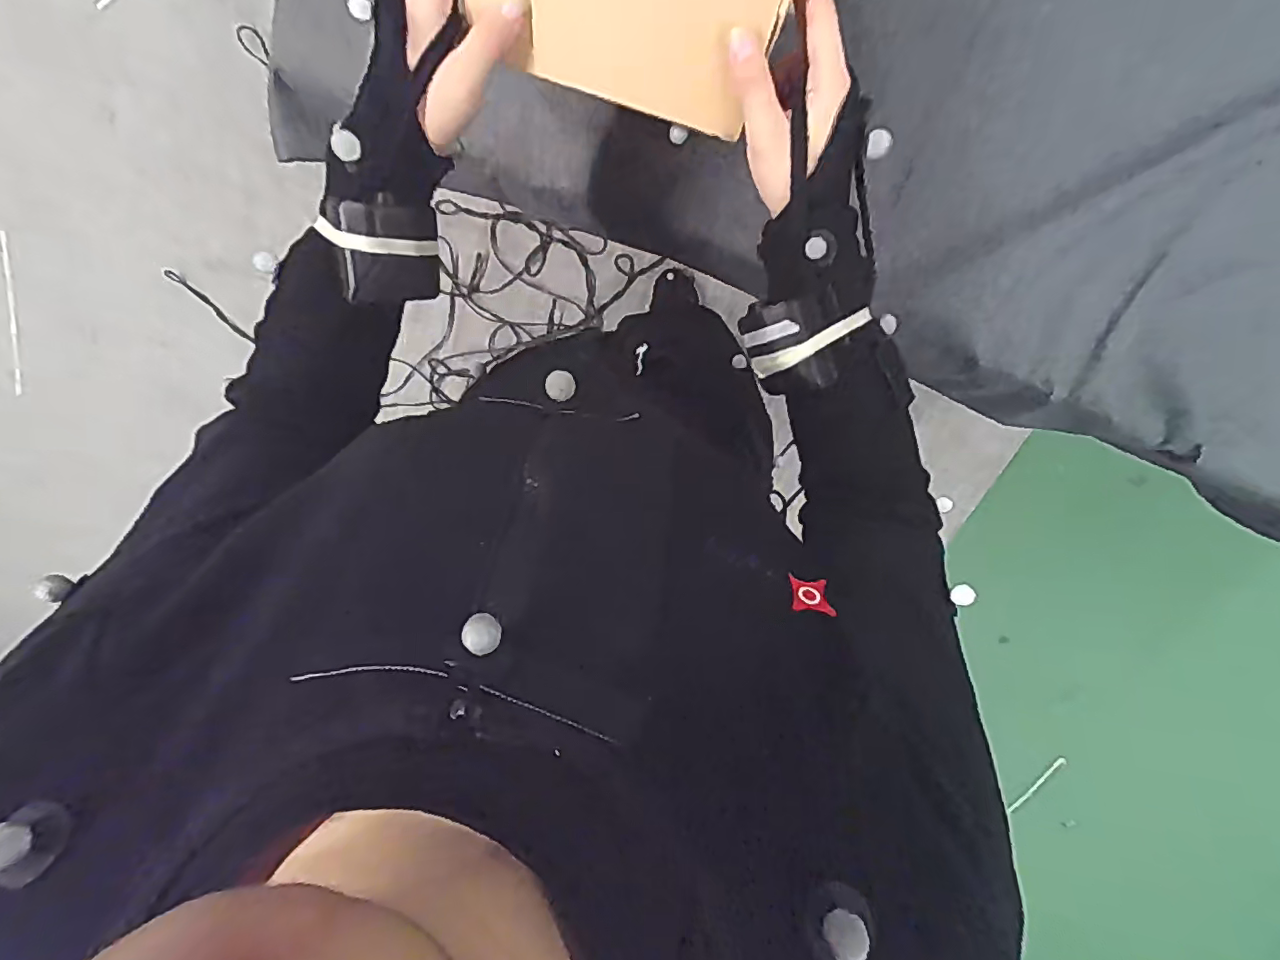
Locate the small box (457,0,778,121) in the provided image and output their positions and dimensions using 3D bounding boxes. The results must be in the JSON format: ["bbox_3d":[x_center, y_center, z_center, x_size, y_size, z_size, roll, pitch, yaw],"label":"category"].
[{"bbox_3d":[0.008,-0.345,0.330,0.179,0.176,0.168,16,130,-2],"label":"small box"}]
